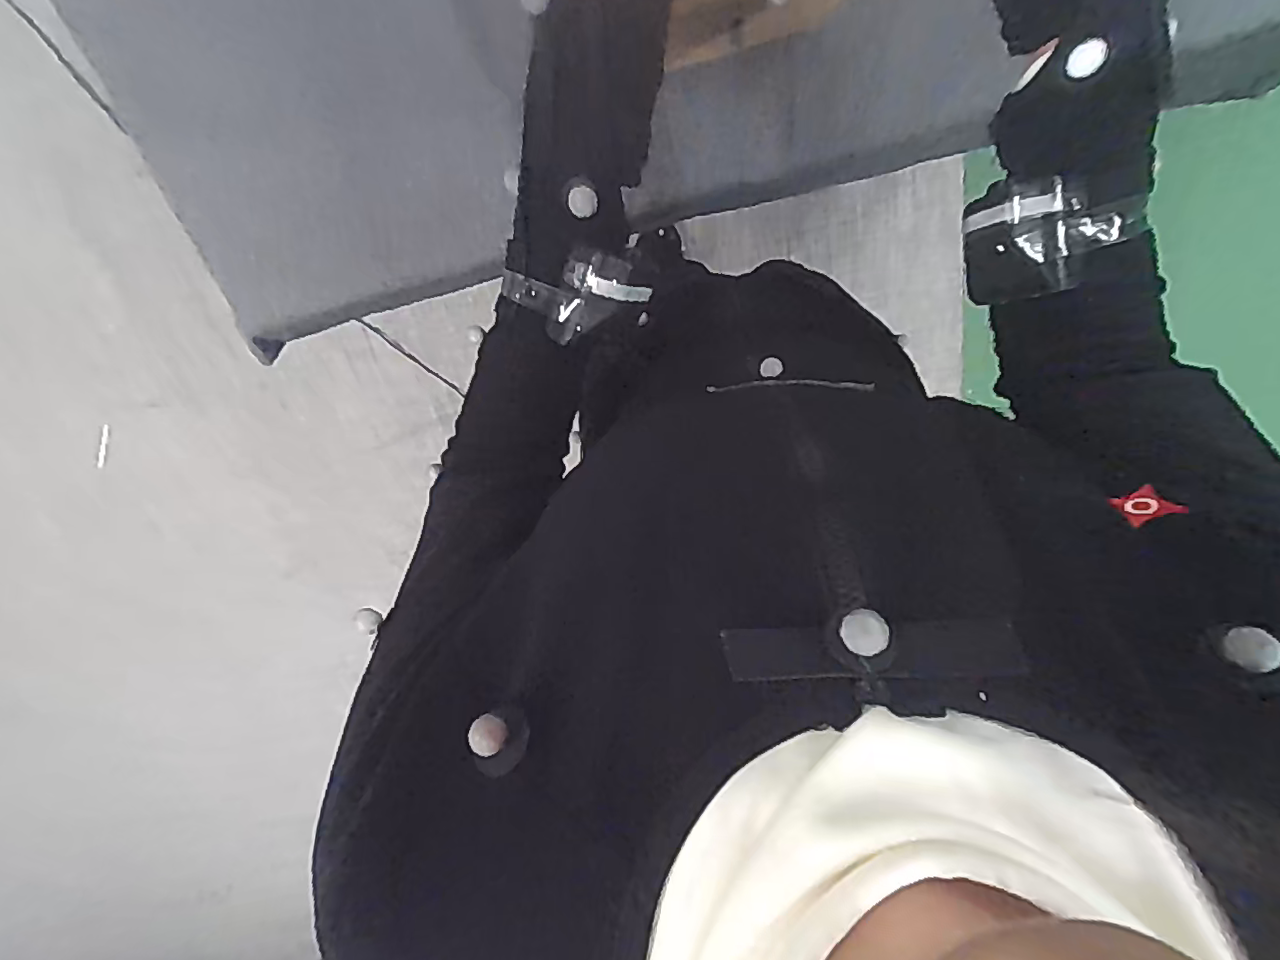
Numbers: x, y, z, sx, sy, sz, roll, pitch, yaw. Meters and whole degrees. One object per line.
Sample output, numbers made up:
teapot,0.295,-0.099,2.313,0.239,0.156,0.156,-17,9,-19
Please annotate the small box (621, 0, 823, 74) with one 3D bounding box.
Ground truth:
small box,0.065,-0.445,0.406,0.179,0.176,0.168,-17,115,5
